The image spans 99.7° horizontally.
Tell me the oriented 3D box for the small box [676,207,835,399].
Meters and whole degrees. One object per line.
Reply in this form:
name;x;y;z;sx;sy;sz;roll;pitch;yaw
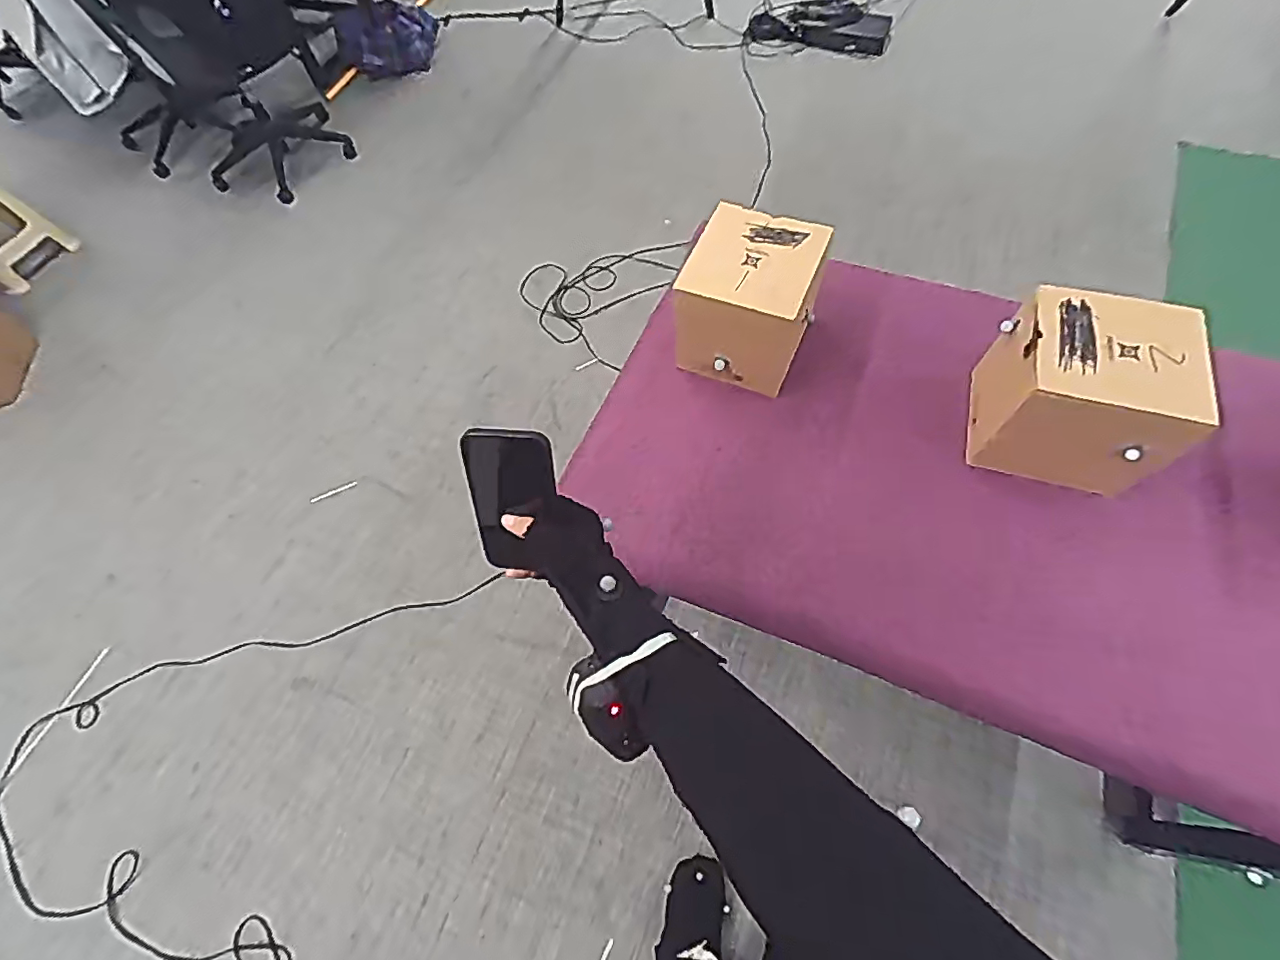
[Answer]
small box;0.159;-0.250;0.783;0.168;0.176;0.179;22;68;15
